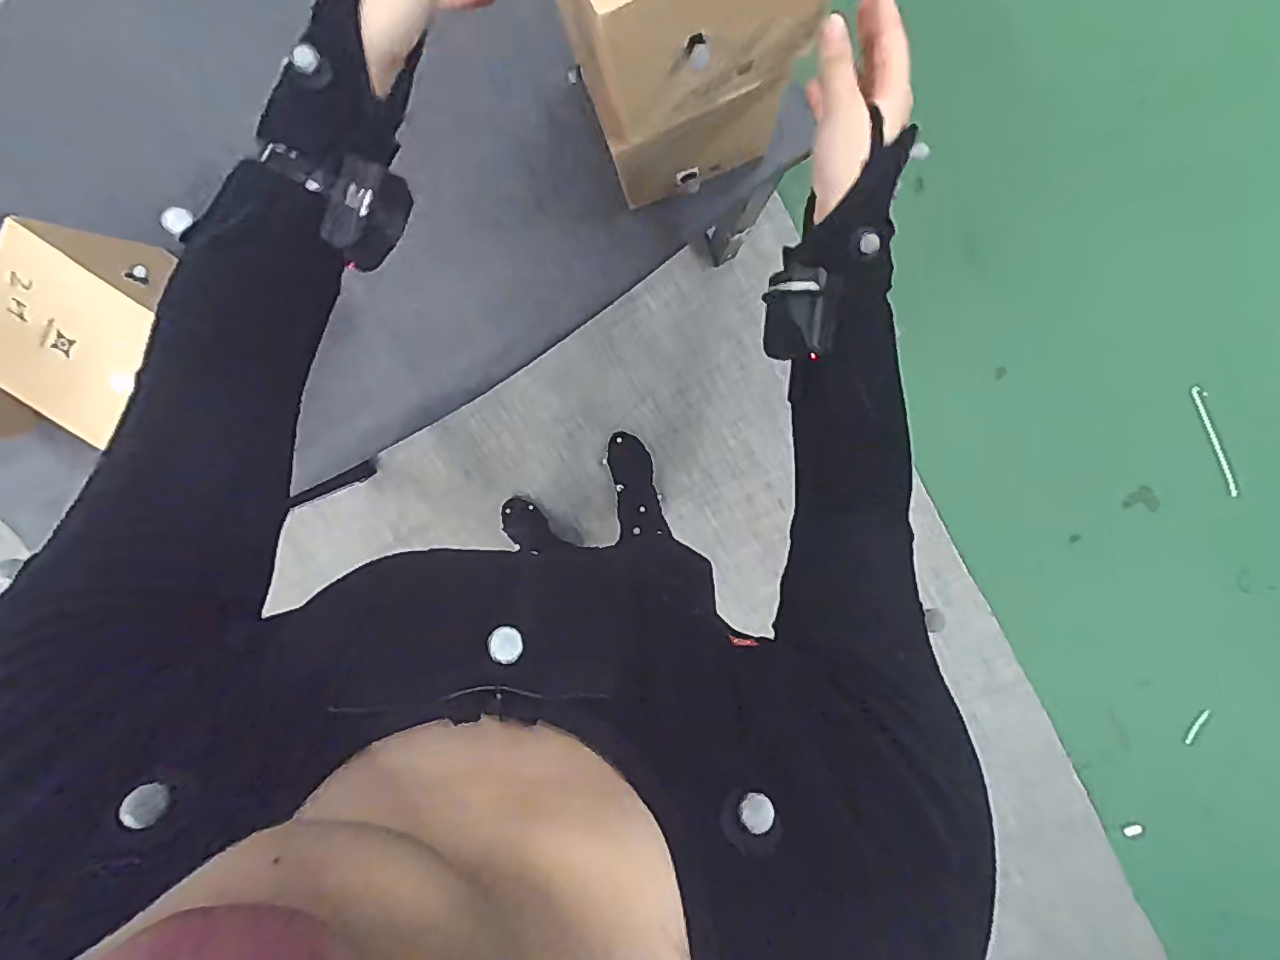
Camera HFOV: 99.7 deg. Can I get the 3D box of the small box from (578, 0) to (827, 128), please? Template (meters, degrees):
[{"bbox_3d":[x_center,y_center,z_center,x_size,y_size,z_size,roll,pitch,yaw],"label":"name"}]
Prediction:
[{"bbox_3d":[0.029,-0.379,0.364,0.168,0.176,0.179,-22,96,9],"label":"small box"}]

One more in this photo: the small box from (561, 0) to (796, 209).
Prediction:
[{"bbox_3d":[0.033,-0.401,0.526,0.168,0.176,0.179,-20,98,10],"label":"small box"}]

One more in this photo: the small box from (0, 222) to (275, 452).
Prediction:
[{"bbox_3d":[-0.577,-0.158,0.625,0.179,0.176,0.168,35,102,-4],"label":"small box"}]
